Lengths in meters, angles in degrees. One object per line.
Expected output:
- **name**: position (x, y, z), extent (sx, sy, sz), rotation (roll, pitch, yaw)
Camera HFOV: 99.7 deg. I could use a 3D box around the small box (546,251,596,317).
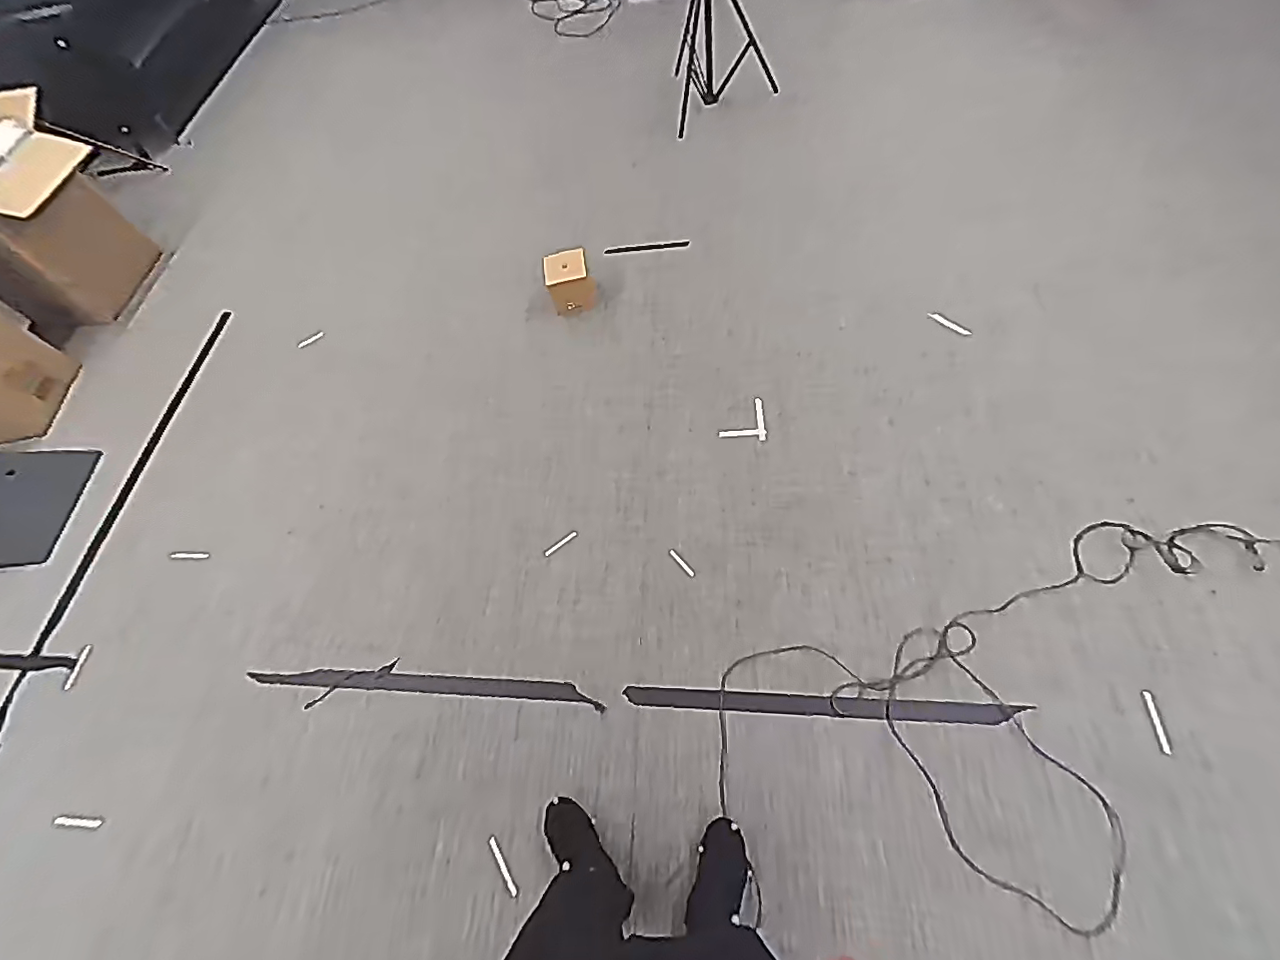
- **small box**: position (-0.280, -0.798, 2.210), extent (0.168, 0.176, 0.179), rotation (-11, 60, 4)
